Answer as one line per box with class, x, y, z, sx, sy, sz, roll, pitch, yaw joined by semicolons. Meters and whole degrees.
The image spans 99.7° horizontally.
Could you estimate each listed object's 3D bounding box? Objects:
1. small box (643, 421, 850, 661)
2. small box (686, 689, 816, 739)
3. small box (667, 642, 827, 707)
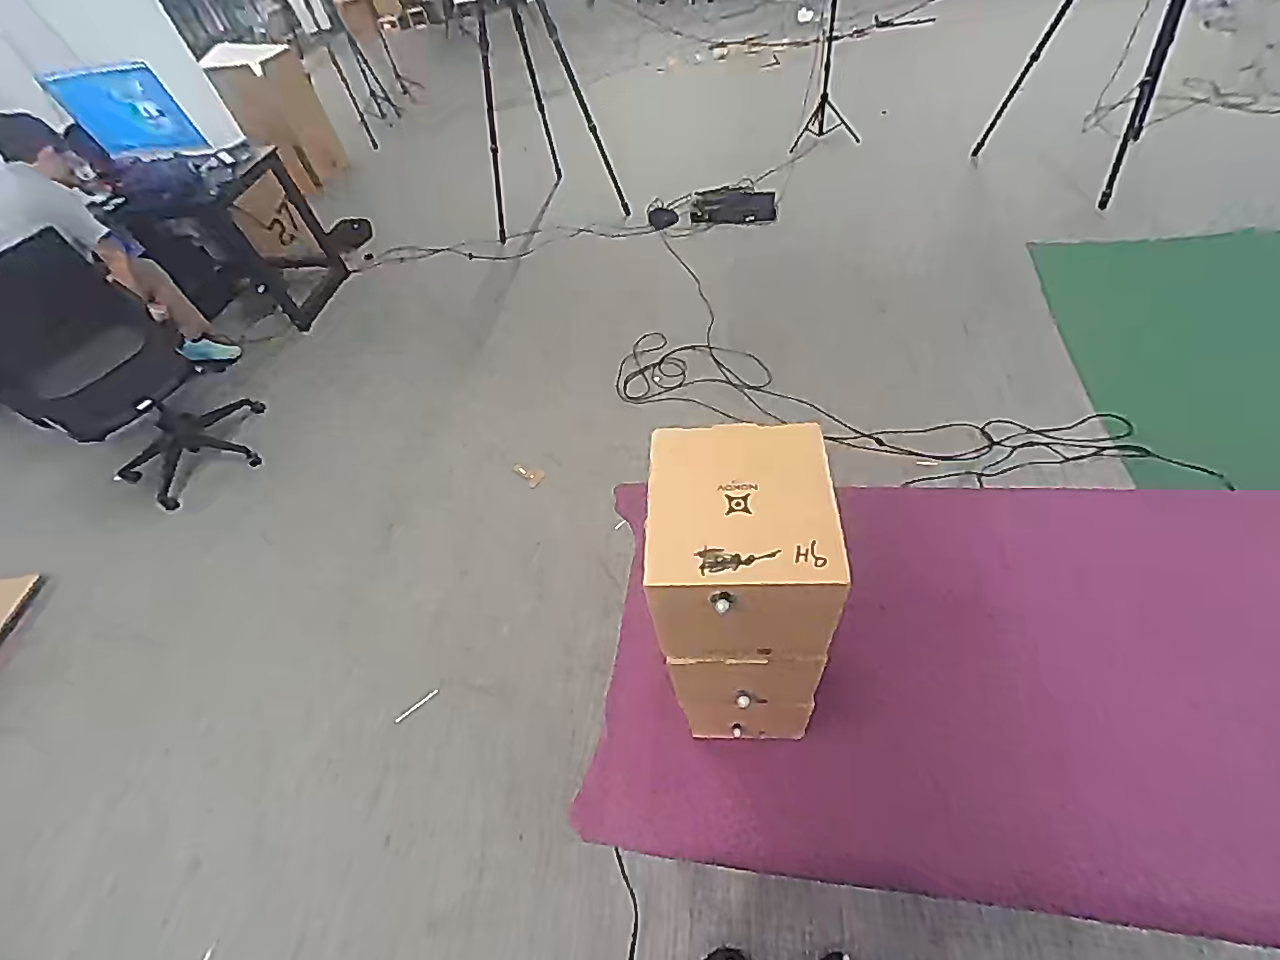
small box;0.100;0.062;0.541;0.168;0.176;0.179;-2;51;9
small box;0.153;0.265;0.794;0.168;0.176;0.179;-3;52;8
small box;0.123;0.165;0.667;0.168;0.176;0.179;-4;52;8
